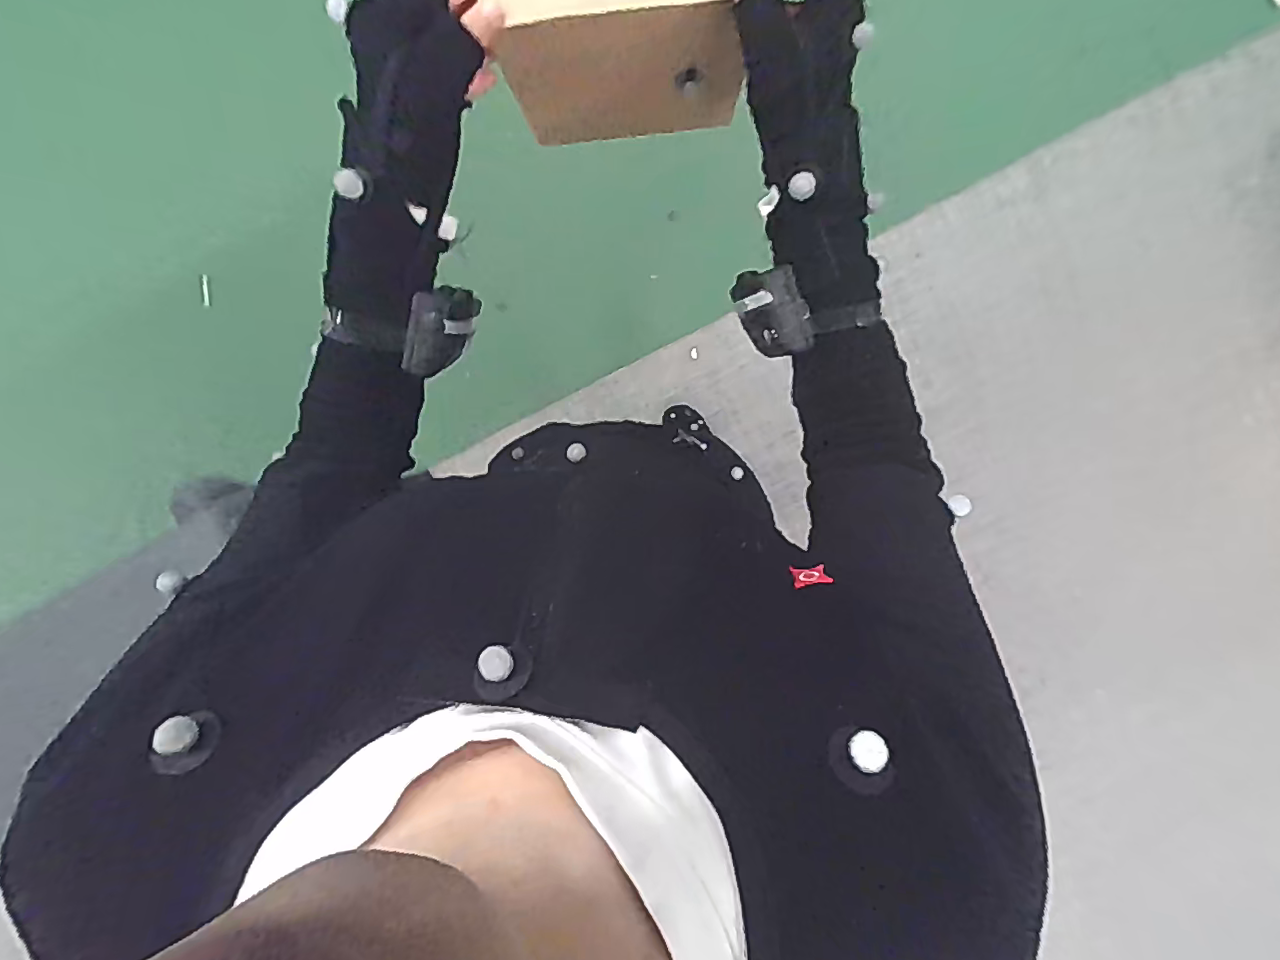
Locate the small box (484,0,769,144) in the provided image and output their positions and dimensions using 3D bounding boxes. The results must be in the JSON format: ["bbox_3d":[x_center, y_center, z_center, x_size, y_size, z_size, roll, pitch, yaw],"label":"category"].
[{"bbox_3d":[-0.011,-0.375,0.392,0.179,0.176,0.168,-5,99,4],"label":"small box"}]
